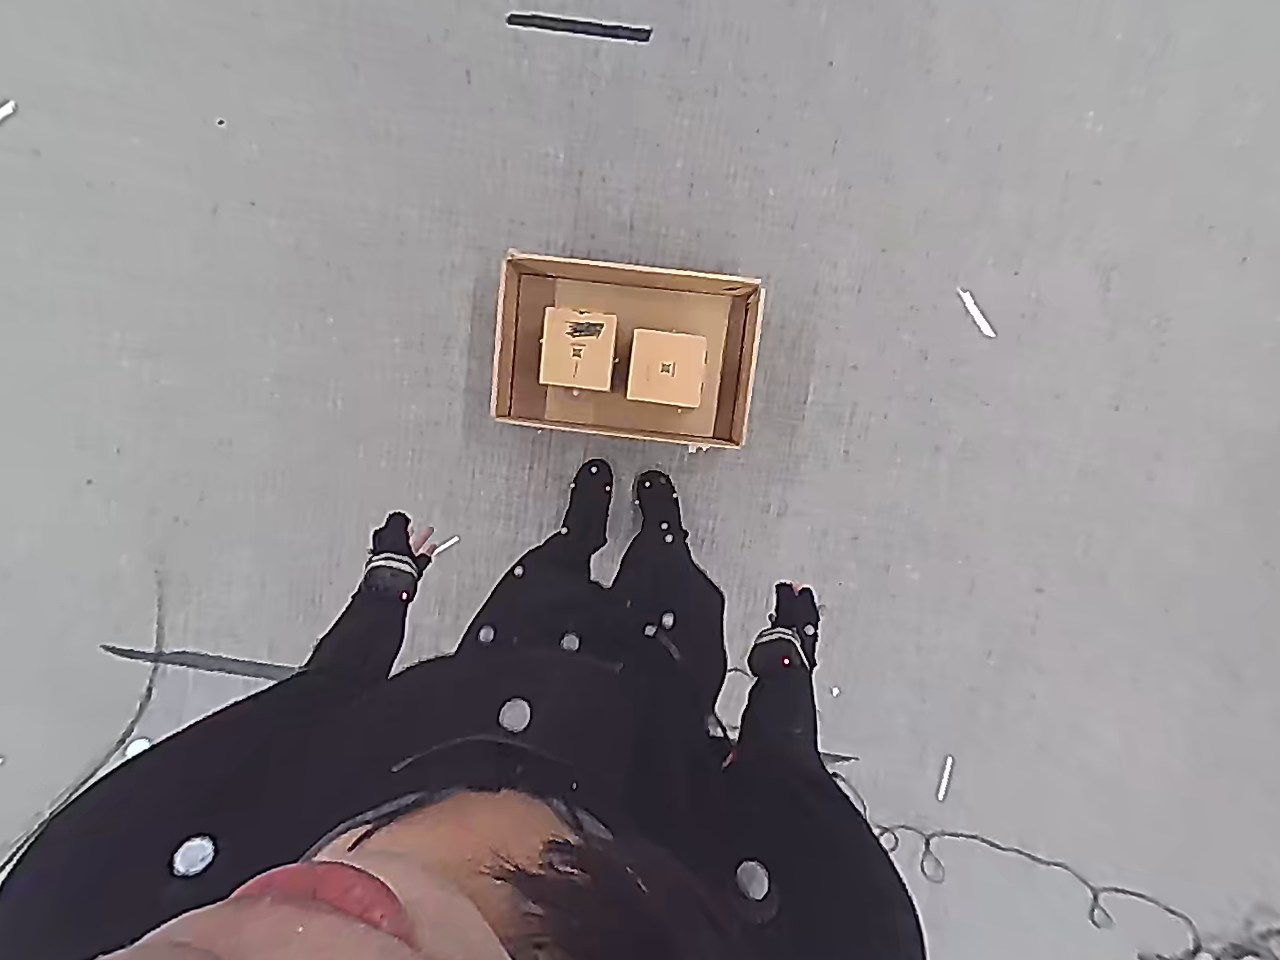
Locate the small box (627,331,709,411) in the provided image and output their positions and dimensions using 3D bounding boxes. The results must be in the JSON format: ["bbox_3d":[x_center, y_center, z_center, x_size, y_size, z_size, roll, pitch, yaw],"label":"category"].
[{"bbox_3d":[0.067,-0.262,1.334,0.179,0.176,0.168,7,96,2],"label":"small box"}]
